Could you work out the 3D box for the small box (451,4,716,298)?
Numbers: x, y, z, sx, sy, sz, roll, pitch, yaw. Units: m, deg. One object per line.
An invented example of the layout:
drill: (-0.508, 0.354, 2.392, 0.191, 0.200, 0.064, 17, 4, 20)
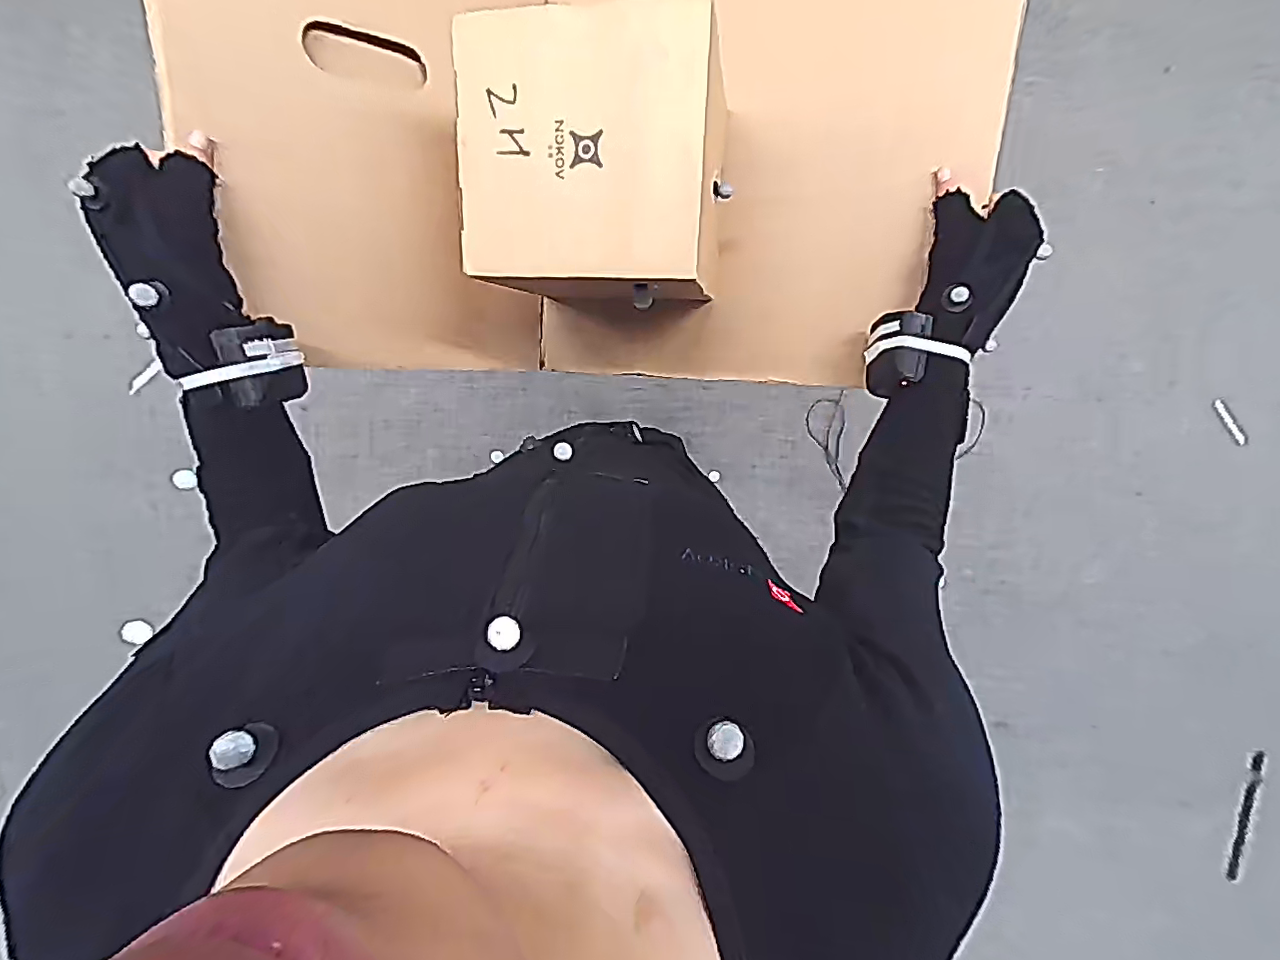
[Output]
small box: (-0.032, -0.246, 0.449, 0.179, 0.176, 0.168, 5, 104, 11)
